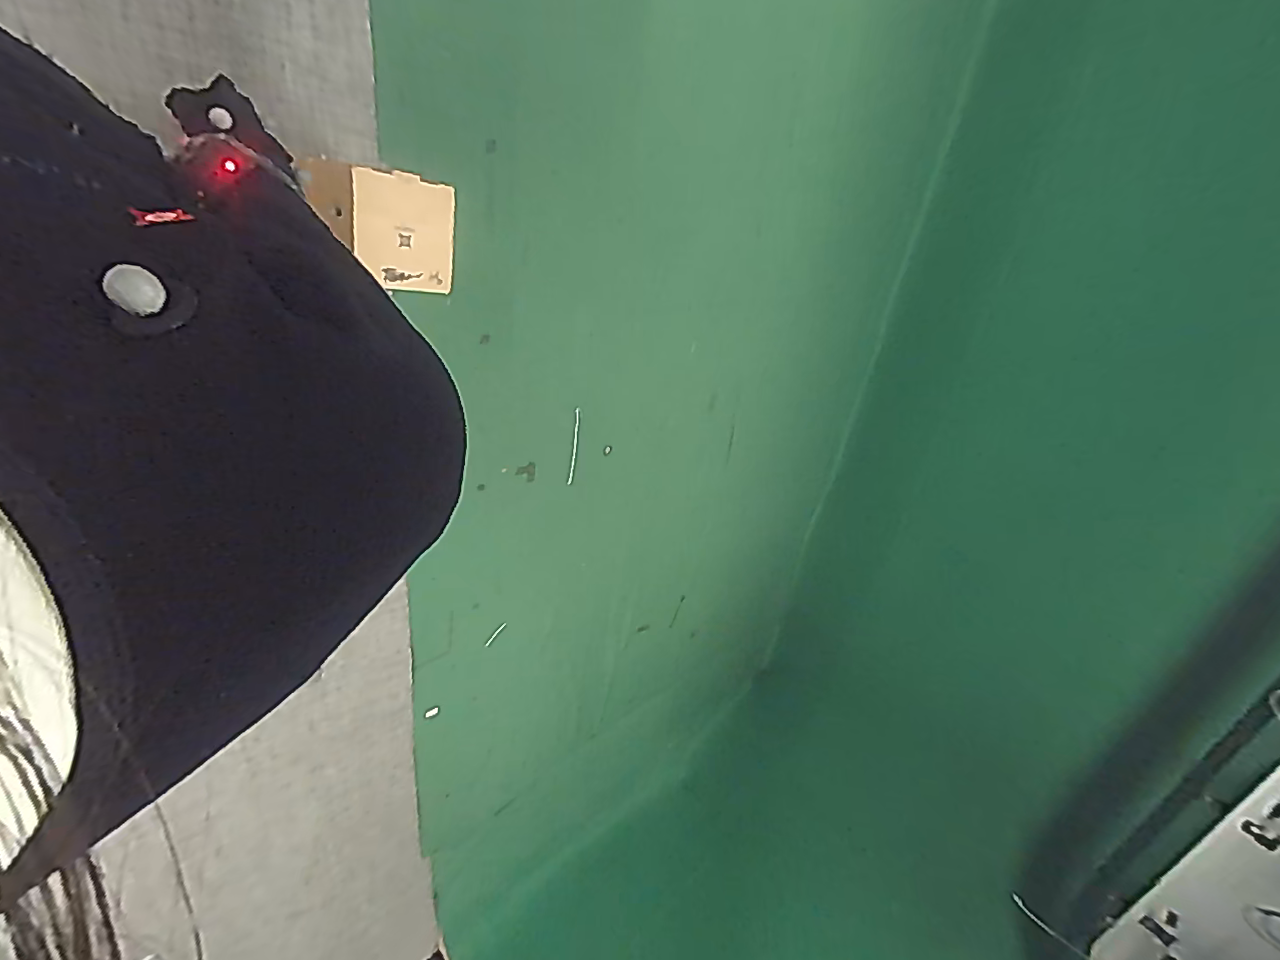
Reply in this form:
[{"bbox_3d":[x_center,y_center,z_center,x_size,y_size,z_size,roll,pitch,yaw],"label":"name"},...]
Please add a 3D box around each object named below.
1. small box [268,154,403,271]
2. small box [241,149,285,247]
[{"bbox_3d":[-0.569,-0.501,1.015,0.179,0.176,0.168,-13,123,-44],"label":"small box"},{"bbox_3d":[-0.687,-0.568,1.108,0.179,0.176,0.168,-13,123,-43],"label":"small box"}]
